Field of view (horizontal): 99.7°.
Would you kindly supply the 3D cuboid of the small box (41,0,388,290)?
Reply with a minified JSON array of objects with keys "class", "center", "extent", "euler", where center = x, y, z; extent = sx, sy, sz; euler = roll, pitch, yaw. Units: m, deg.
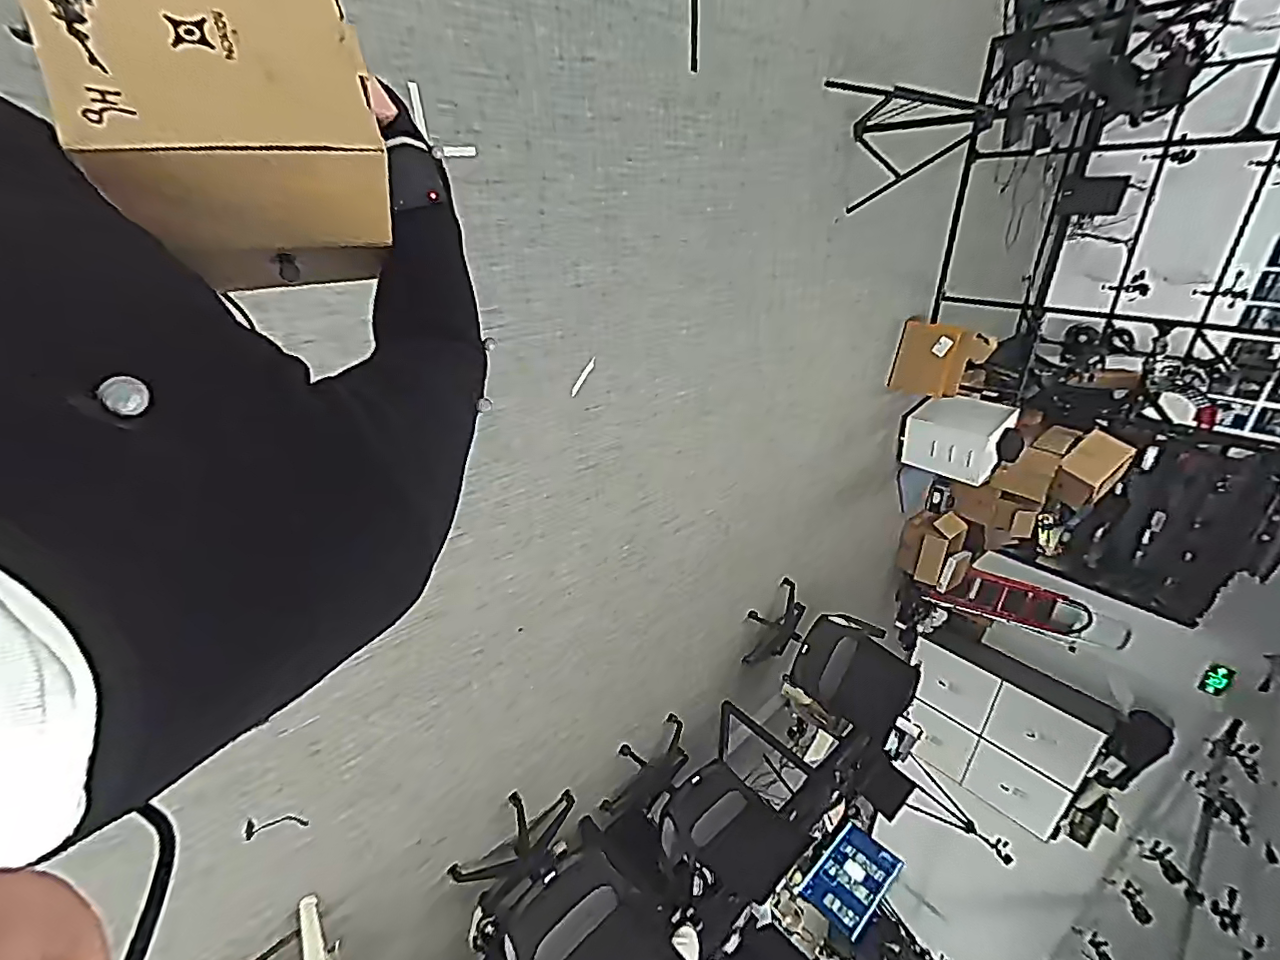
[{"class":"small box","center":[-0.317,-0.275,0.439],"extent":[0.179,0.176,0.168],"euler":[-16,85,-25]}]
